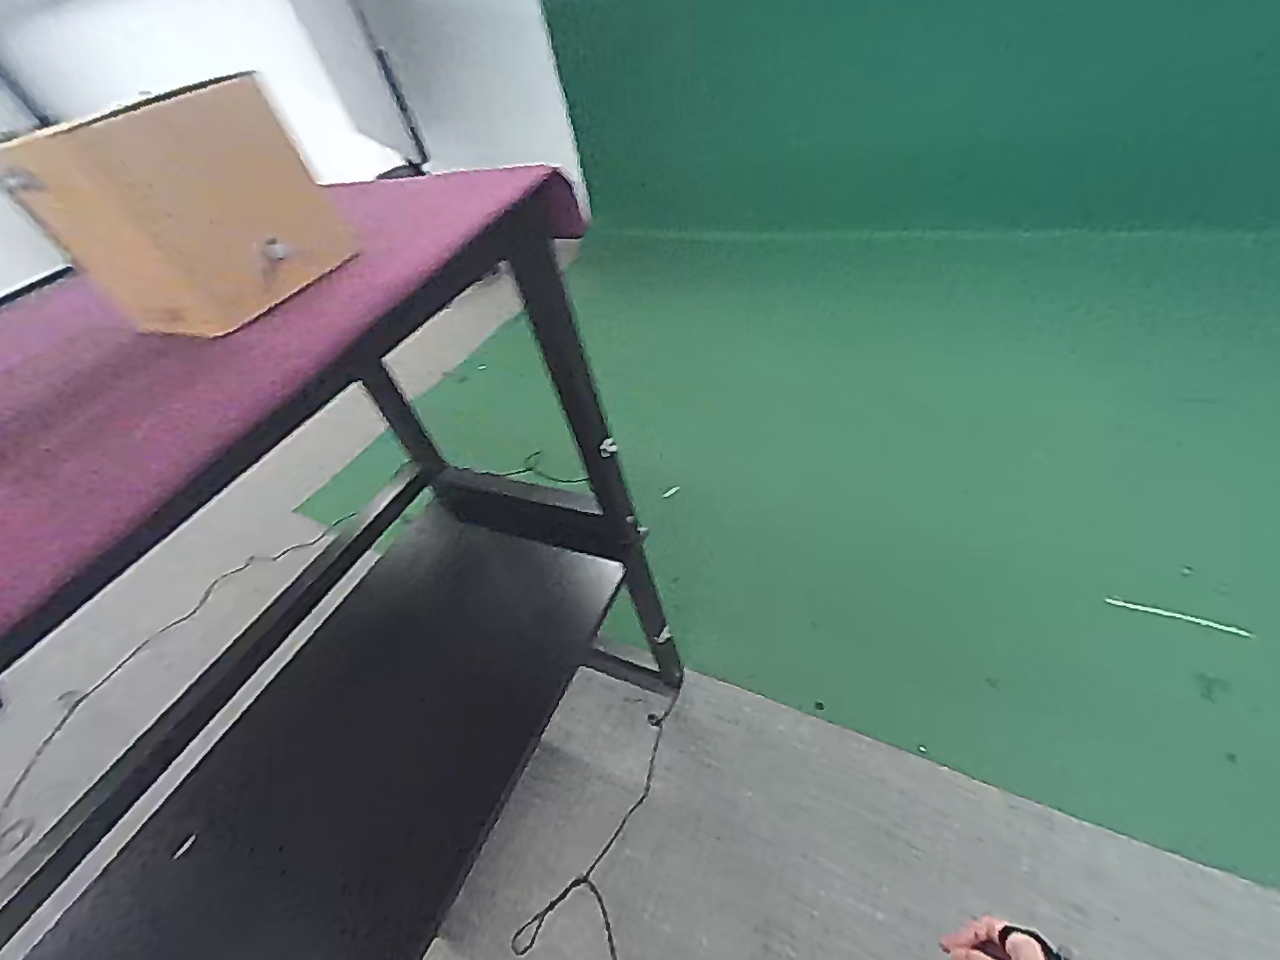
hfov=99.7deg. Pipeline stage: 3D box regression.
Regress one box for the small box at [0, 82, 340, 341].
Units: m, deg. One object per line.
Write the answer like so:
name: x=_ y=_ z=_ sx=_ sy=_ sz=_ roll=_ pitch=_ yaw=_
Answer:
small box: x=-0.434 y=-0.258 z=0.529 sx=0.168 sy=0.176 sz=0.179 roll=10 pitch=49 yaw=27
